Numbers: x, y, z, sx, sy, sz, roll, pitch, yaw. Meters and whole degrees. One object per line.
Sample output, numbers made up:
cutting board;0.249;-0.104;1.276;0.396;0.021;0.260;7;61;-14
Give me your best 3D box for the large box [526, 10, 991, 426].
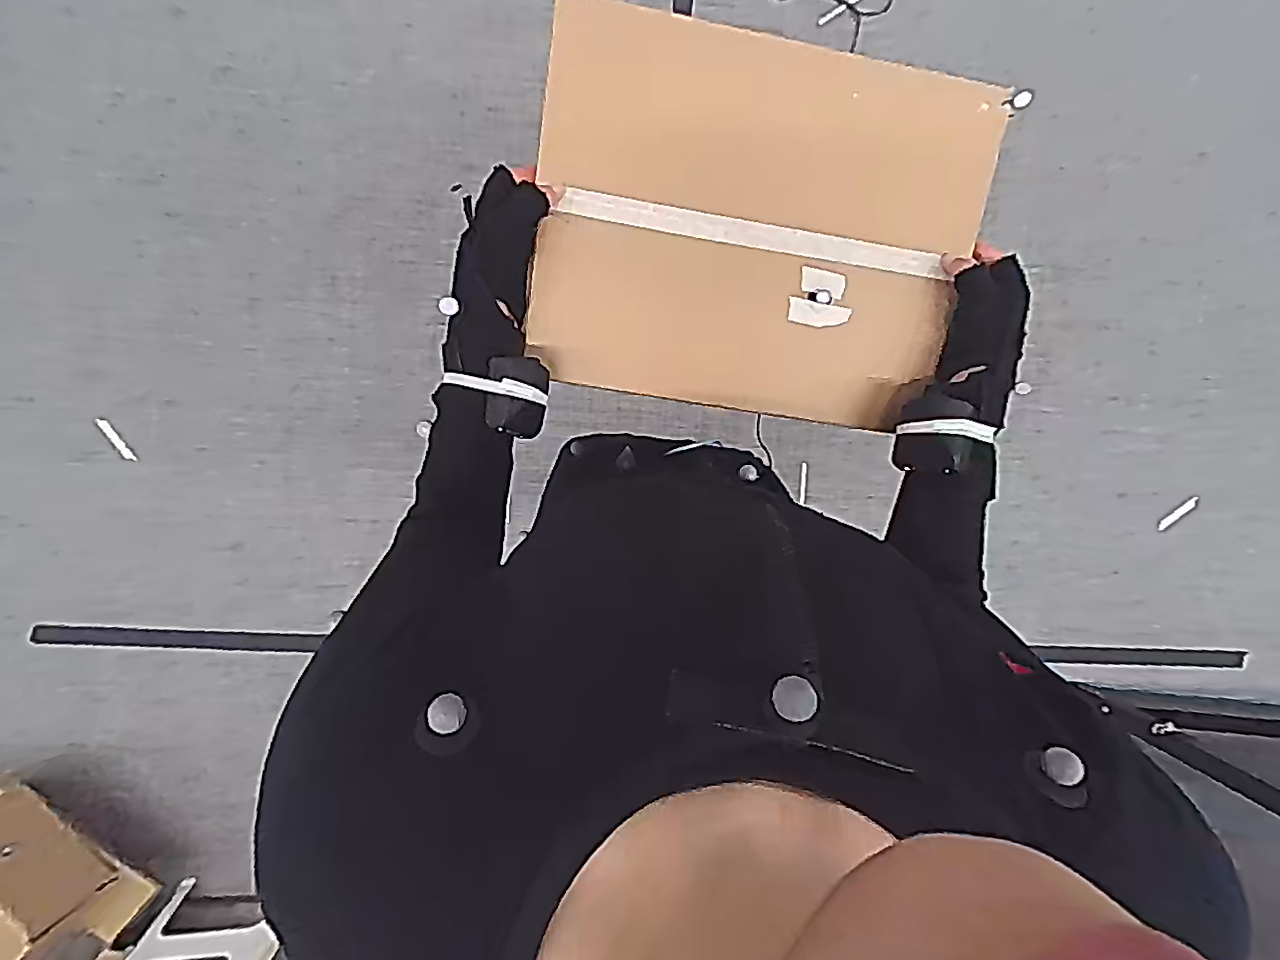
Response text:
large box;0.093;-0.259;0.649;0.408;0.320;0.320;8;103;-6
